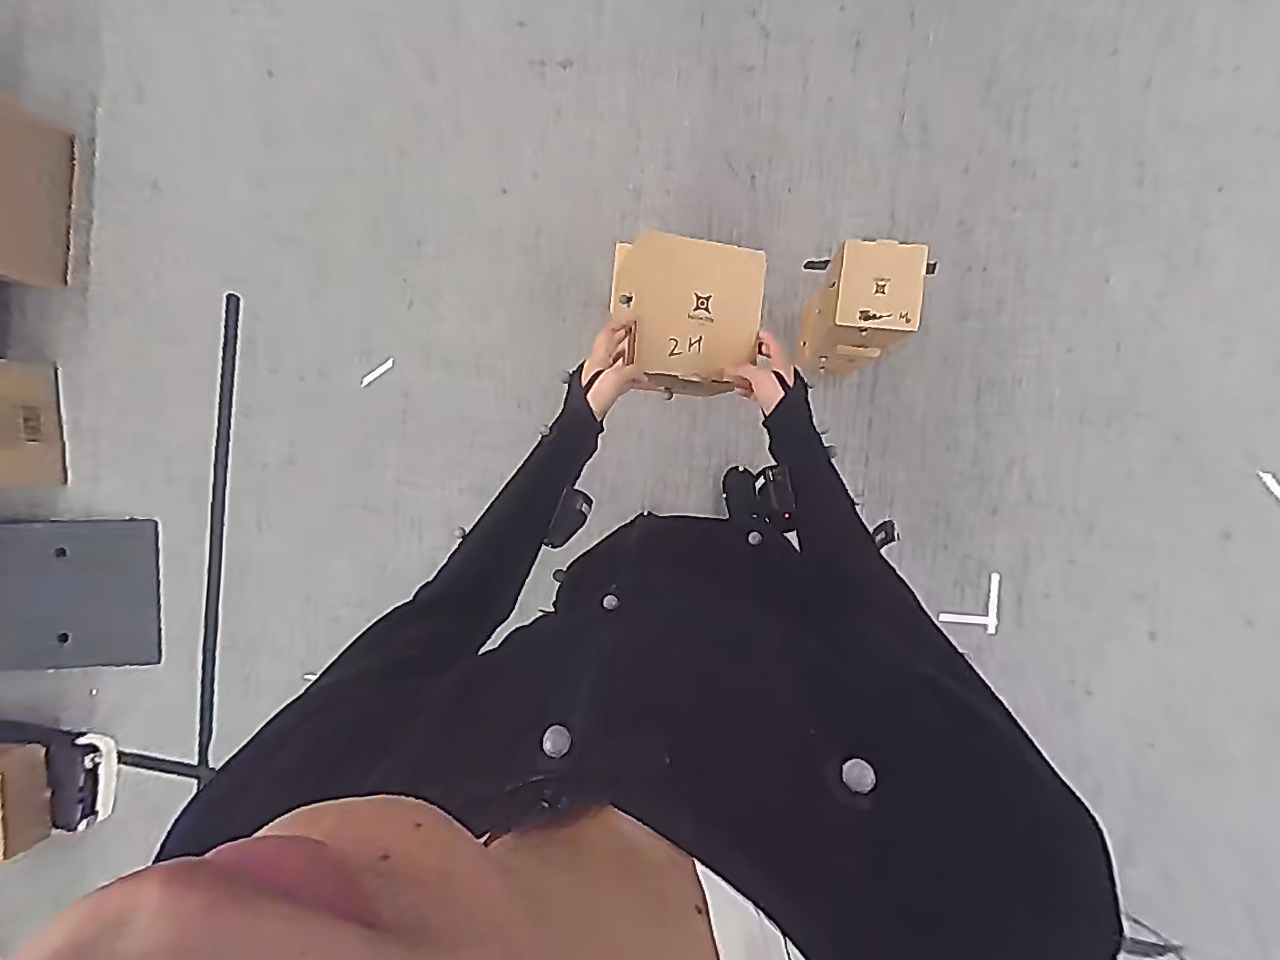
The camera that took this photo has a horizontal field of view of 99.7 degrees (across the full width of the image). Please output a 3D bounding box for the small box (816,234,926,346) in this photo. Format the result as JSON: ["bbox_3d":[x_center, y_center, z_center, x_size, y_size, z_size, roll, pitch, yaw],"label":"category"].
[{"bbox_3d":[0.489,-0.403,1.166,0.168,0.176,0.179,7,92,6],"label":"small box"}]

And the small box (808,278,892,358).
[{"bbox_3d":[0.520,-0.405,1.328,0.168,0.176,0.179,7,92,5],"label":"small box"}]

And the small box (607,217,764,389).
[{"bbox_3d":[0.054,-0.229,0.747,0.168,0.176,0.179,4,93,-14],"label":"small box"}]

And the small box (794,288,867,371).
[{"bbox_3d":[0.529,-0.410,1.492,0.168,0.176,0.179,8,93,5],"label":"small box"}]
